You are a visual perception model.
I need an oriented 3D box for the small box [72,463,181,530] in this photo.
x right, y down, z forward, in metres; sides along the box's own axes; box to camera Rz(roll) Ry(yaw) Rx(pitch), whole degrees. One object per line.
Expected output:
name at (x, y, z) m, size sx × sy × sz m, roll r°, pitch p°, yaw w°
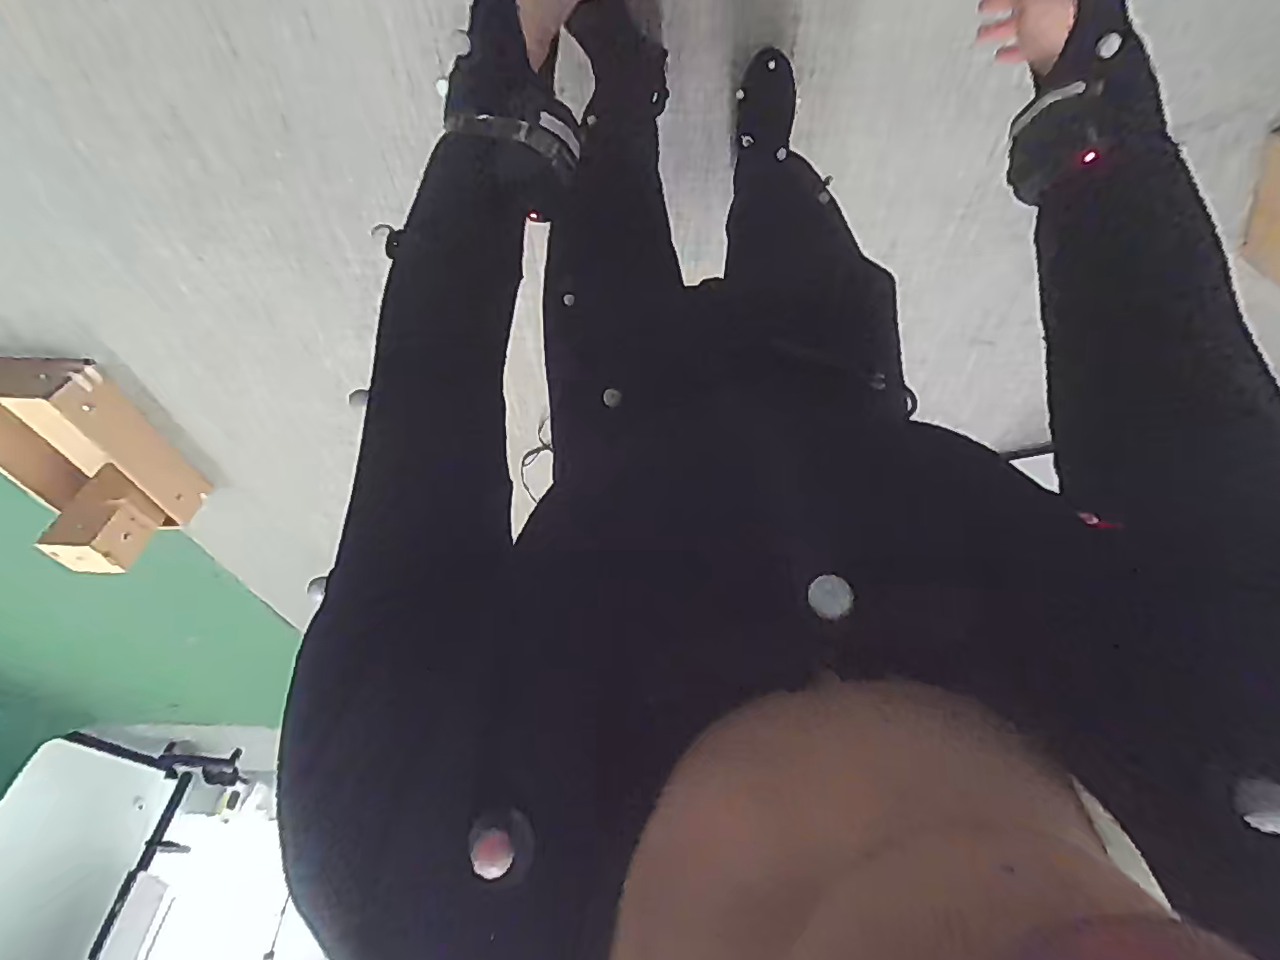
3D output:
small box at (-1.747, 0.057, 1.854) m, size 0.179 × 0.176 × 0.168 m, roll -2°, pitch 140°, yaw 2°

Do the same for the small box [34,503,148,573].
small box at (-1.761, 0.189, 1.756) m, size 0.179 × 0.176 × 0.168 m, roll 1°, pitch 140°, yaw -2°
